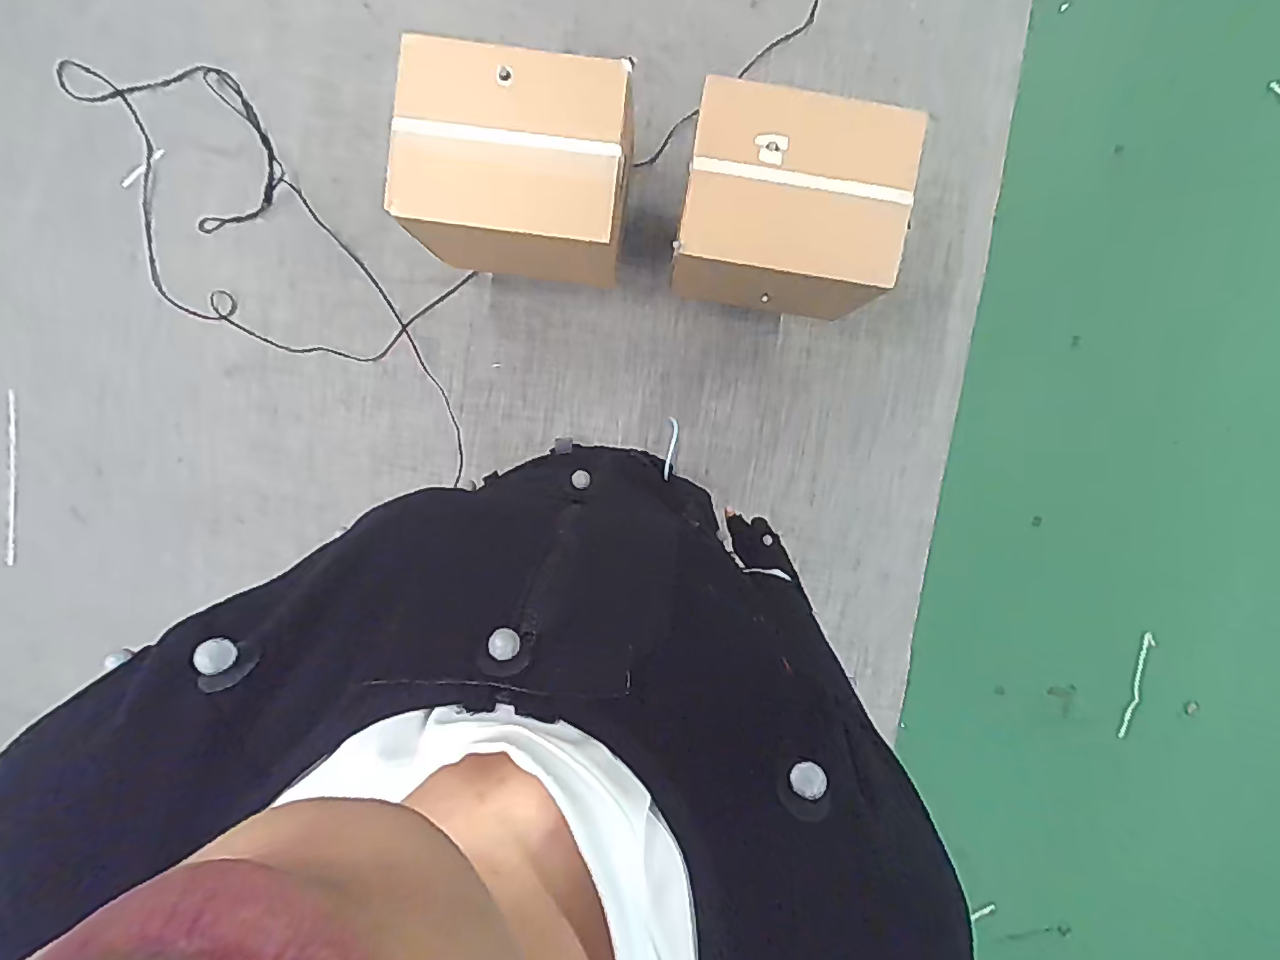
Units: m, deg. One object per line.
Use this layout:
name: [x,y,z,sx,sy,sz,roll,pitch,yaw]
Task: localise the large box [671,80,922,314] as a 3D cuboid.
large box: [0.292,-0.555,1.132,0.408,0.320,0.320,10,95,-1]
